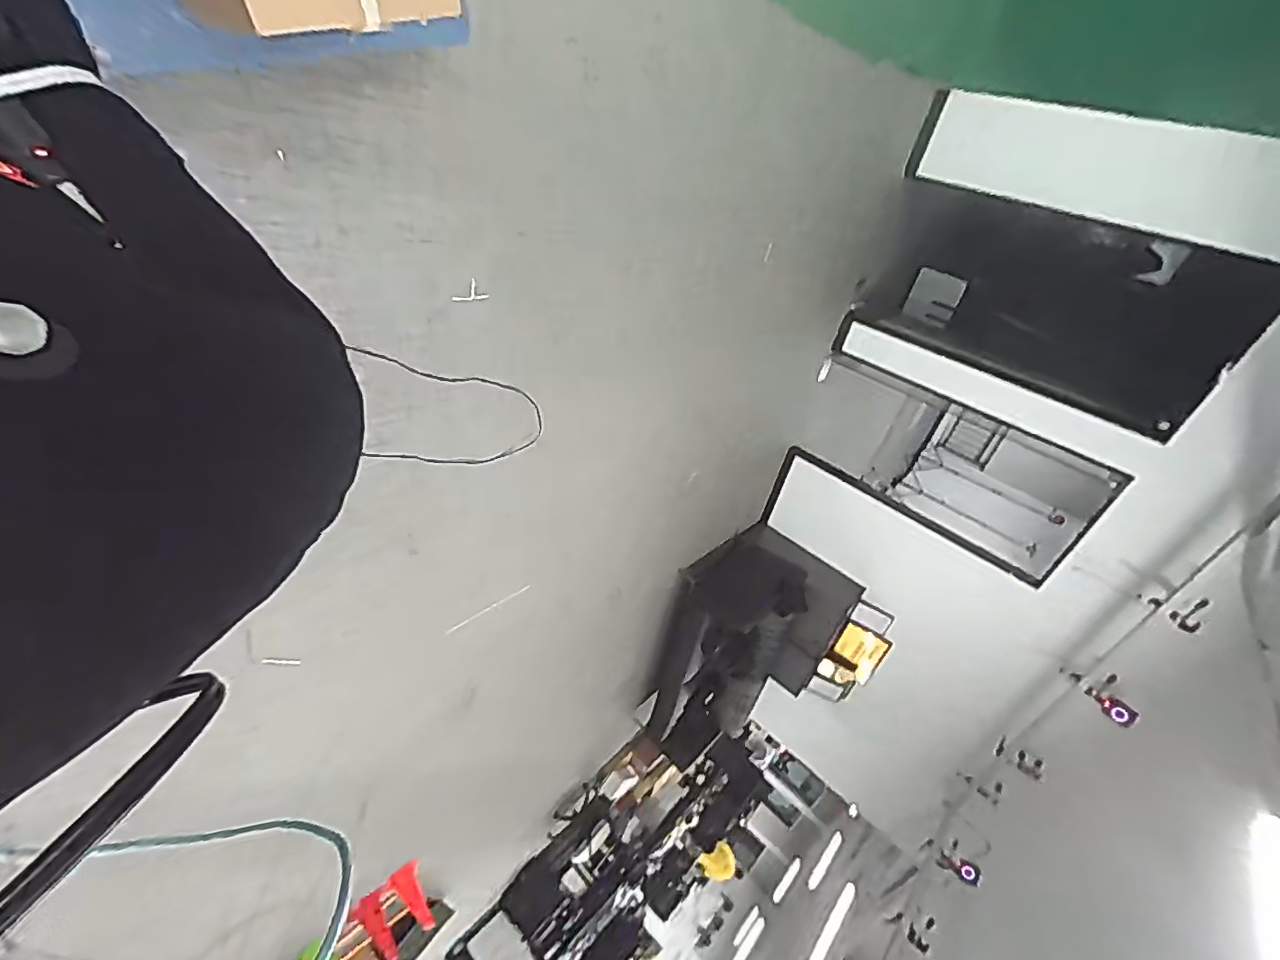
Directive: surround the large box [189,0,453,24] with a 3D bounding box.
[{"bbox_3d":[-0.506,-0.887,0.712,0.320,0.320,0.408,-37,146,-30],"label":"large box"}]
